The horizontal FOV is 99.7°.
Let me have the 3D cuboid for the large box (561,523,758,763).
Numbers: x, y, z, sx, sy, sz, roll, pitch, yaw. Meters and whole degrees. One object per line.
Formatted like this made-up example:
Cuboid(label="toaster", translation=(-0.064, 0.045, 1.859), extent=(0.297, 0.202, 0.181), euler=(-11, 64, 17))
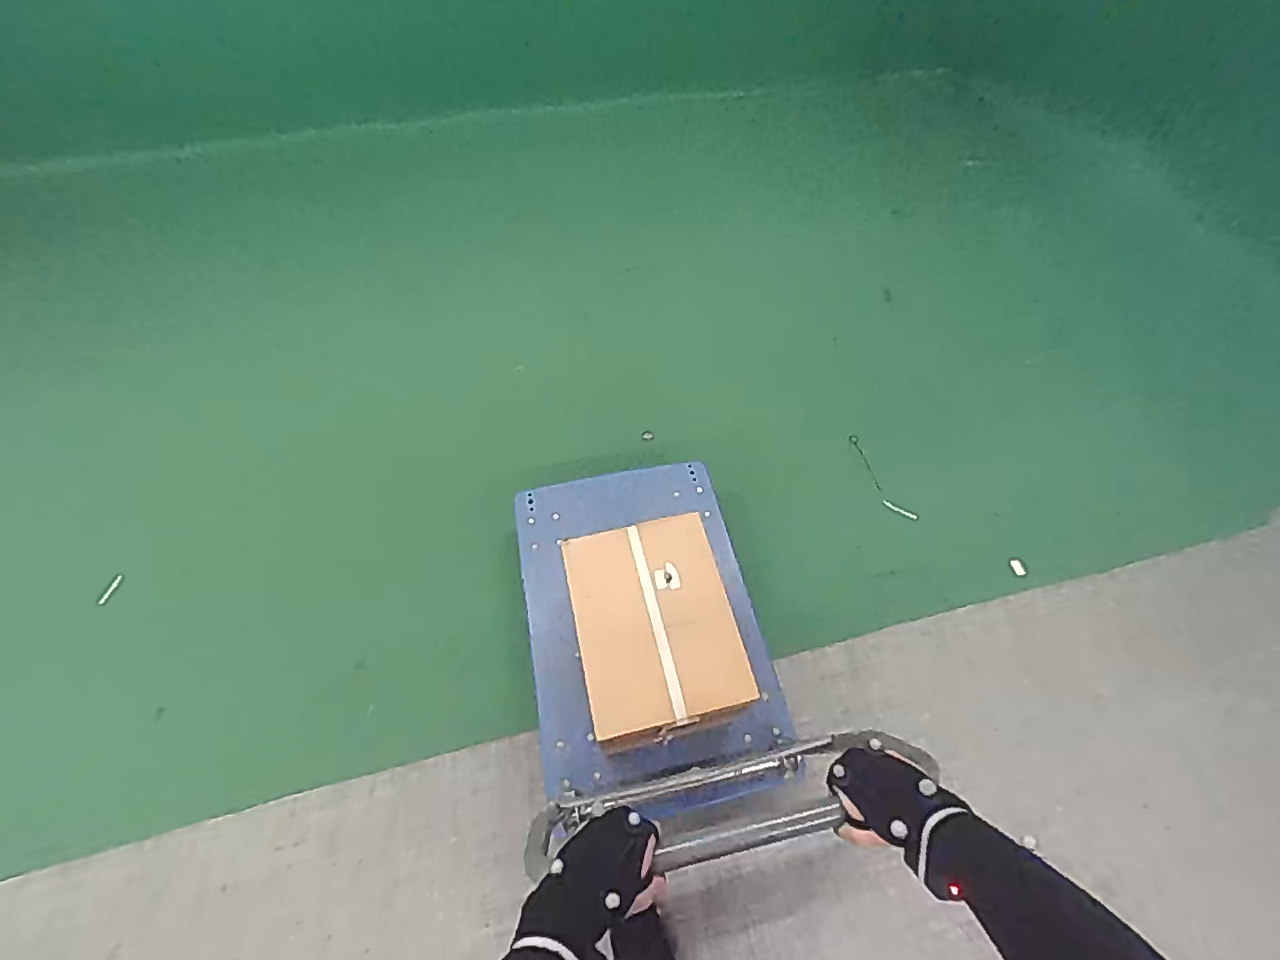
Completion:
Cuboid(label="large box", translation=(0.028, 0.368, 1.213), extent=(0.320, 0.320, 0.408), euler=(-12, 59, -8))
